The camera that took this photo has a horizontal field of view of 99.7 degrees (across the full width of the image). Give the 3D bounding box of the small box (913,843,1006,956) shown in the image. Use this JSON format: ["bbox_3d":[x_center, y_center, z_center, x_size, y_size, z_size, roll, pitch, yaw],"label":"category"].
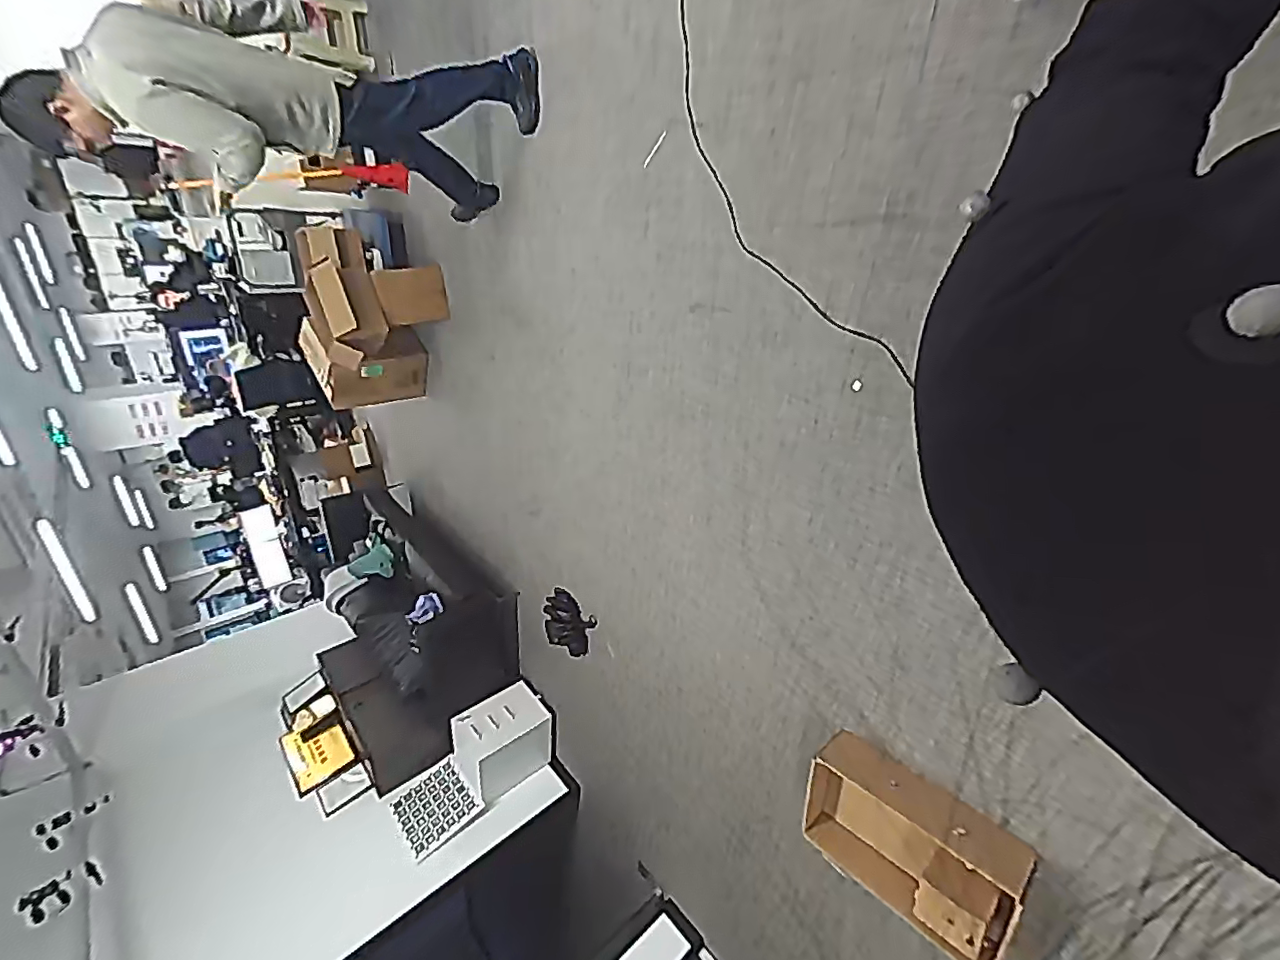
[{"bbox_3d":[0.948,1.229,1.606,0.179,0.176,0.168,20,121,46],"label":"small box"}]
